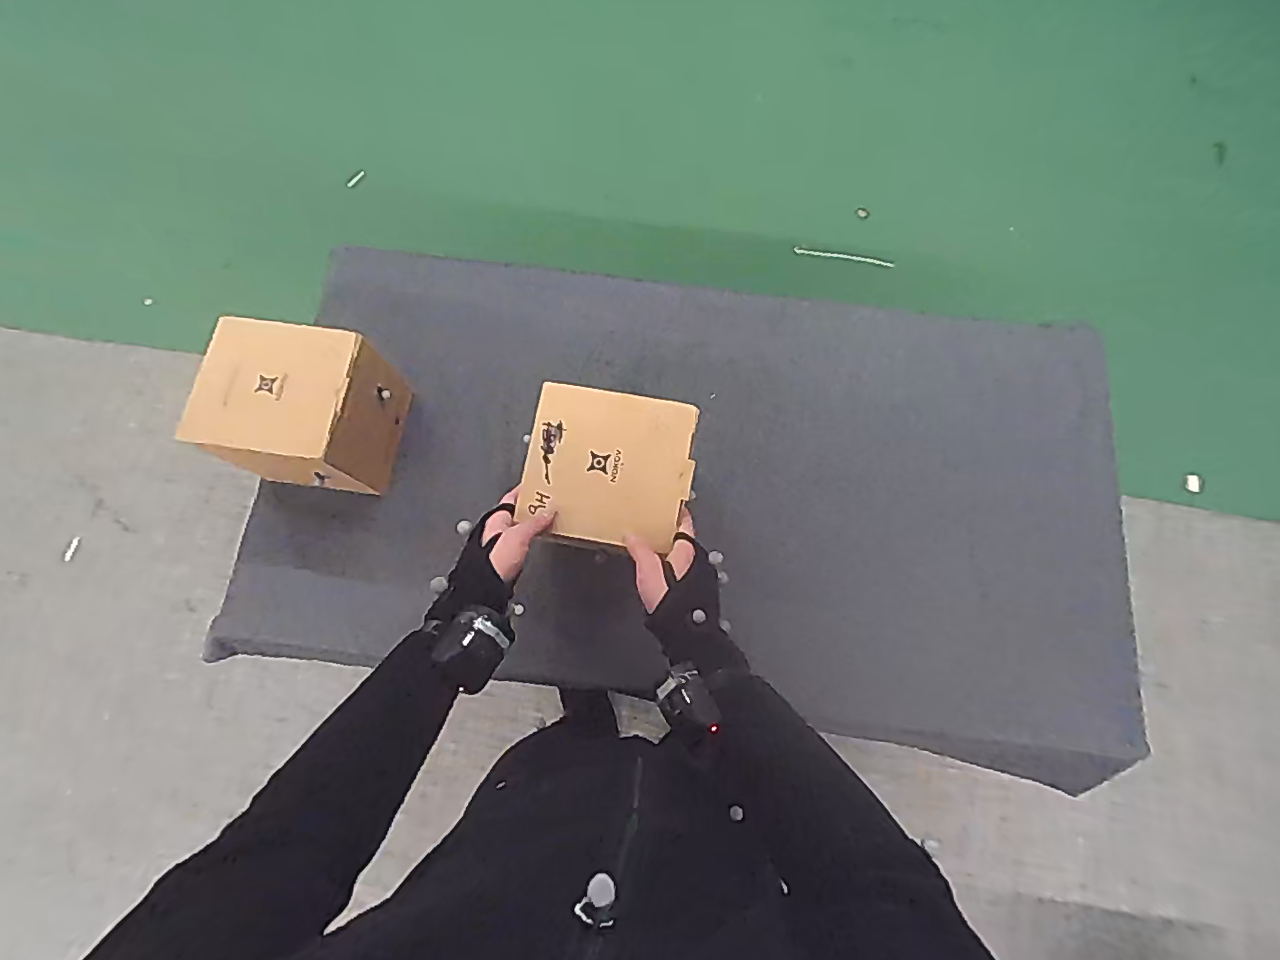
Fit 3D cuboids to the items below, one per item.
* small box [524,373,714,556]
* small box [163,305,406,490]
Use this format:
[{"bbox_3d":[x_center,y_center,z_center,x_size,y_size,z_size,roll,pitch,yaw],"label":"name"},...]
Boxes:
[{"bbox_3d":[-0.022,-0.006,0.642,0.179,0.176,0.168,11,78,0],"label":"small box"},{"bbox_3d":[-0.421,-0.092,0.680,0.179,0.176,0.168,6,72,0],"label":"small box"}]
